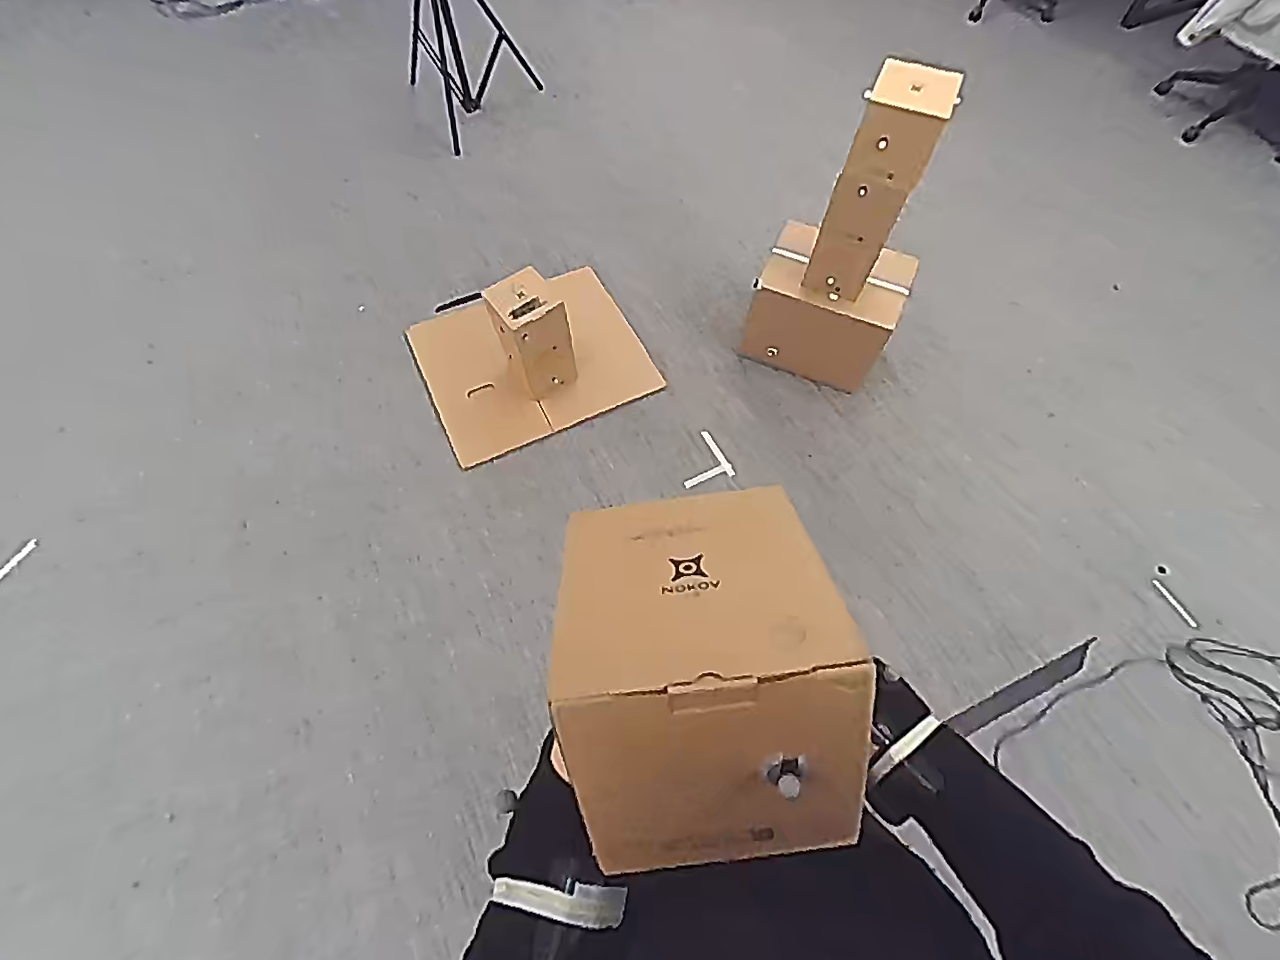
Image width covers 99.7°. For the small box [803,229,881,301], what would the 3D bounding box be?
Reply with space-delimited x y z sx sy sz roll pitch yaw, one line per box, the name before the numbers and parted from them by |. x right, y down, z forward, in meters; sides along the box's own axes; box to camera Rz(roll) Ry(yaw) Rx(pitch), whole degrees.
small box | 0.567 -0.633 1.495 0.168 0.176 0.179 22 66 10

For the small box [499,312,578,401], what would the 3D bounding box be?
small box | -0.314 -0.384 1.698 0.168 0.176 0.179 -33 68 -13

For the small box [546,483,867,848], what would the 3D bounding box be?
small box | 0.040 0.125 0.377 0.168 0.176 0.179 -8 29 1

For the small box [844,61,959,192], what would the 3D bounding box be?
small box | 0.573 -0.780 1.202 0.168 0.176 0.179 21 65 10

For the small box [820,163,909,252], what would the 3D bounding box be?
small box | 0.569 -0.710 1.350 0.168 0.176 0.179 22 64 11
